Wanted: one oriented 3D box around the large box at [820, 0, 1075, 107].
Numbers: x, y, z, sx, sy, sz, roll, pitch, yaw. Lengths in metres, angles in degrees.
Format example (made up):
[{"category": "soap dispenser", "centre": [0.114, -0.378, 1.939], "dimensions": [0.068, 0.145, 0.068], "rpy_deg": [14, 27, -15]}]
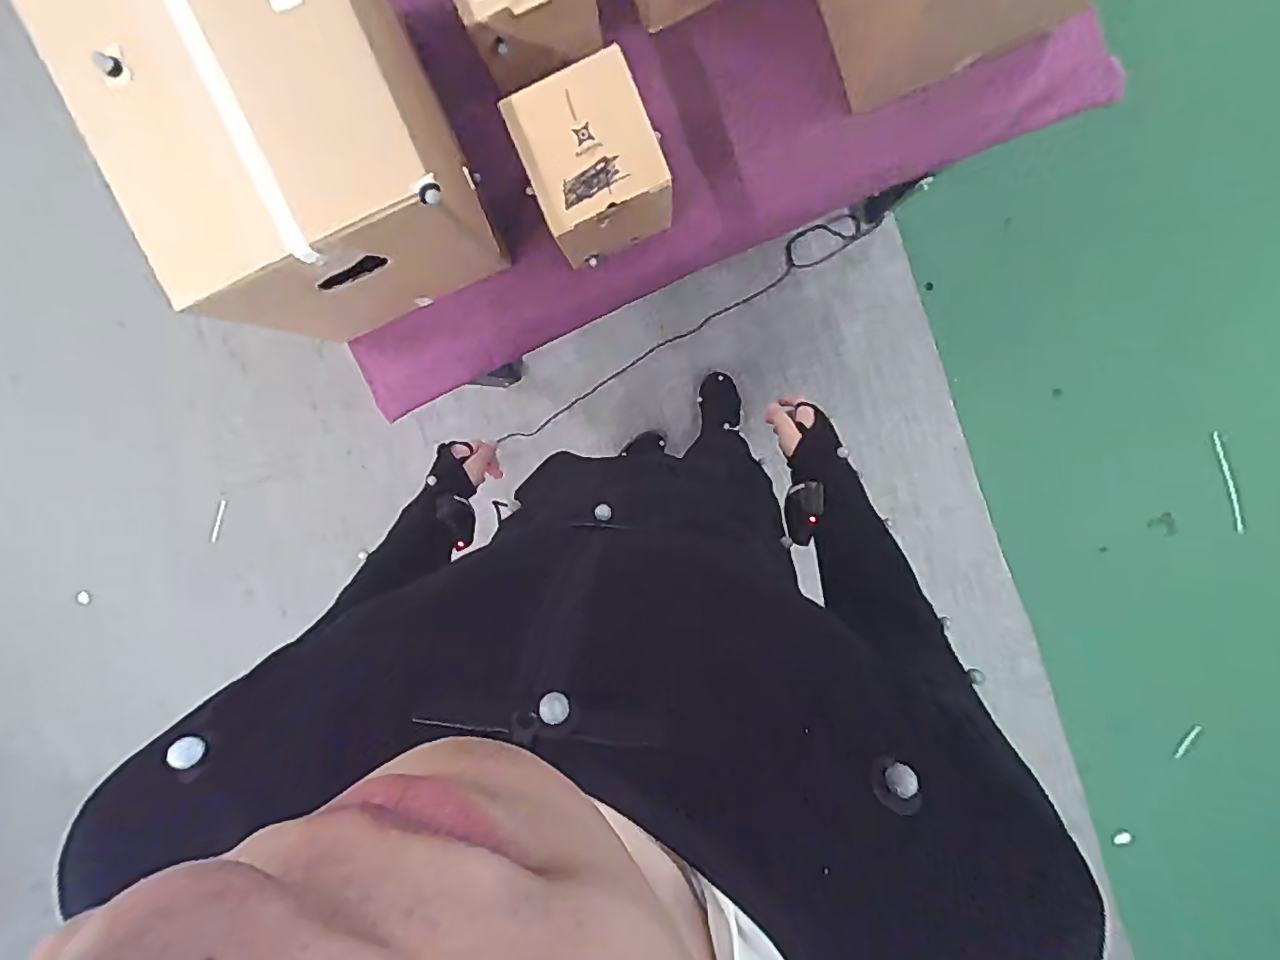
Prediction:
[{"category": "large box", "centre": [0.377, -0.760, 0.614], "dimensions": [0.320, 0.320, 0.408], "rpy_deg": [-22, 97, 6]}]
